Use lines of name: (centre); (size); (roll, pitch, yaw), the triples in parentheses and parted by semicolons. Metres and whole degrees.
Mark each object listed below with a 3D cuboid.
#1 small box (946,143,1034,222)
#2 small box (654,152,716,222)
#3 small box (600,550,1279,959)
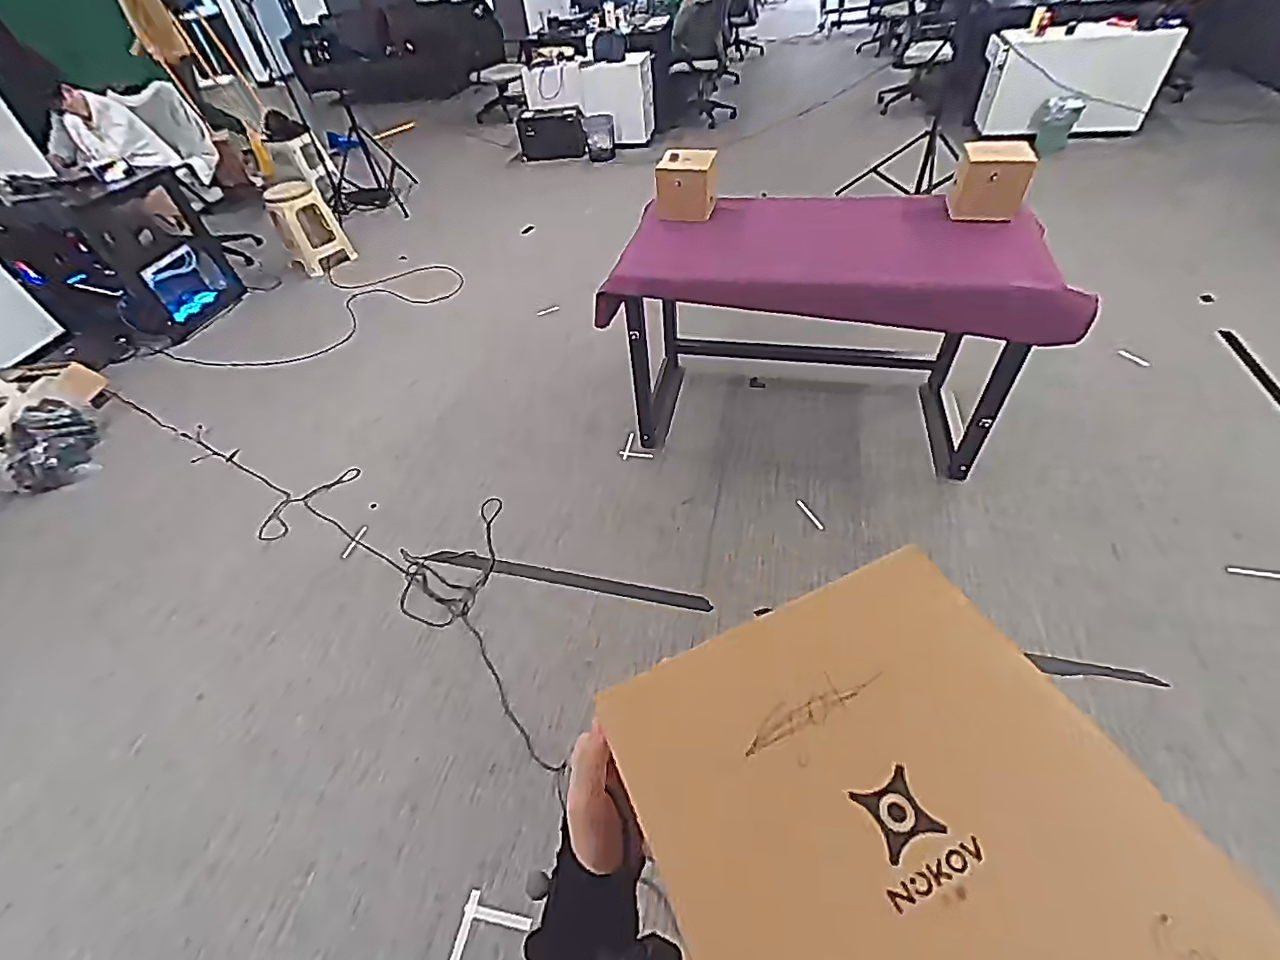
small box: (1.055, -0.906, 1.649); (0.179, 0.176, 0.168); (8, 50, 13)
small box: (0.157, -0.997, 1.842); (0.179, 0.176, 0.168); (10, 51, 14)
small box: (0.099, 0.170, 0.241); (0.168, 0.176, 0.179); (-22, 48, -14)
